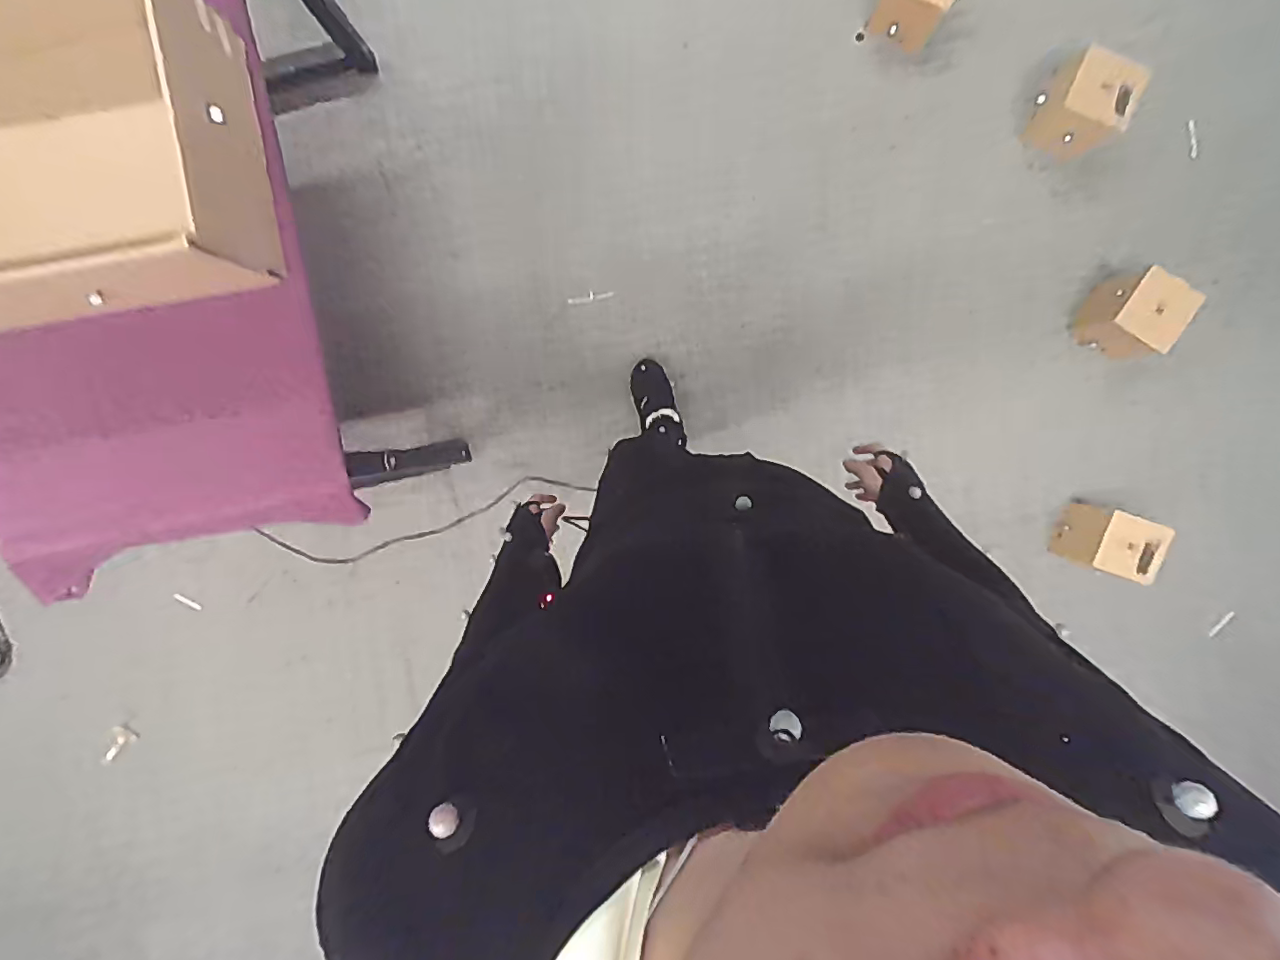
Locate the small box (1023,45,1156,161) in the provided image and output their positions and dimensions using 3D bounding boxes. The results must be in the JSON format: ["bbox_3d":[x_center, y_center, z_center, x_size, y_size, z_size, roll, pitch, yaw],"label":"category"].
[{"bbox_3d":[1.176,-0.983,1.429,0.179,0.176,0.168,22,94,0],"label":"small box"}]

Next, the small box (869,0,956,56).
[{"bbox_3d":[0.735,-1.281,1.417,0.168,0.176,0.179,25,96,-1],"label":"small box"}]
